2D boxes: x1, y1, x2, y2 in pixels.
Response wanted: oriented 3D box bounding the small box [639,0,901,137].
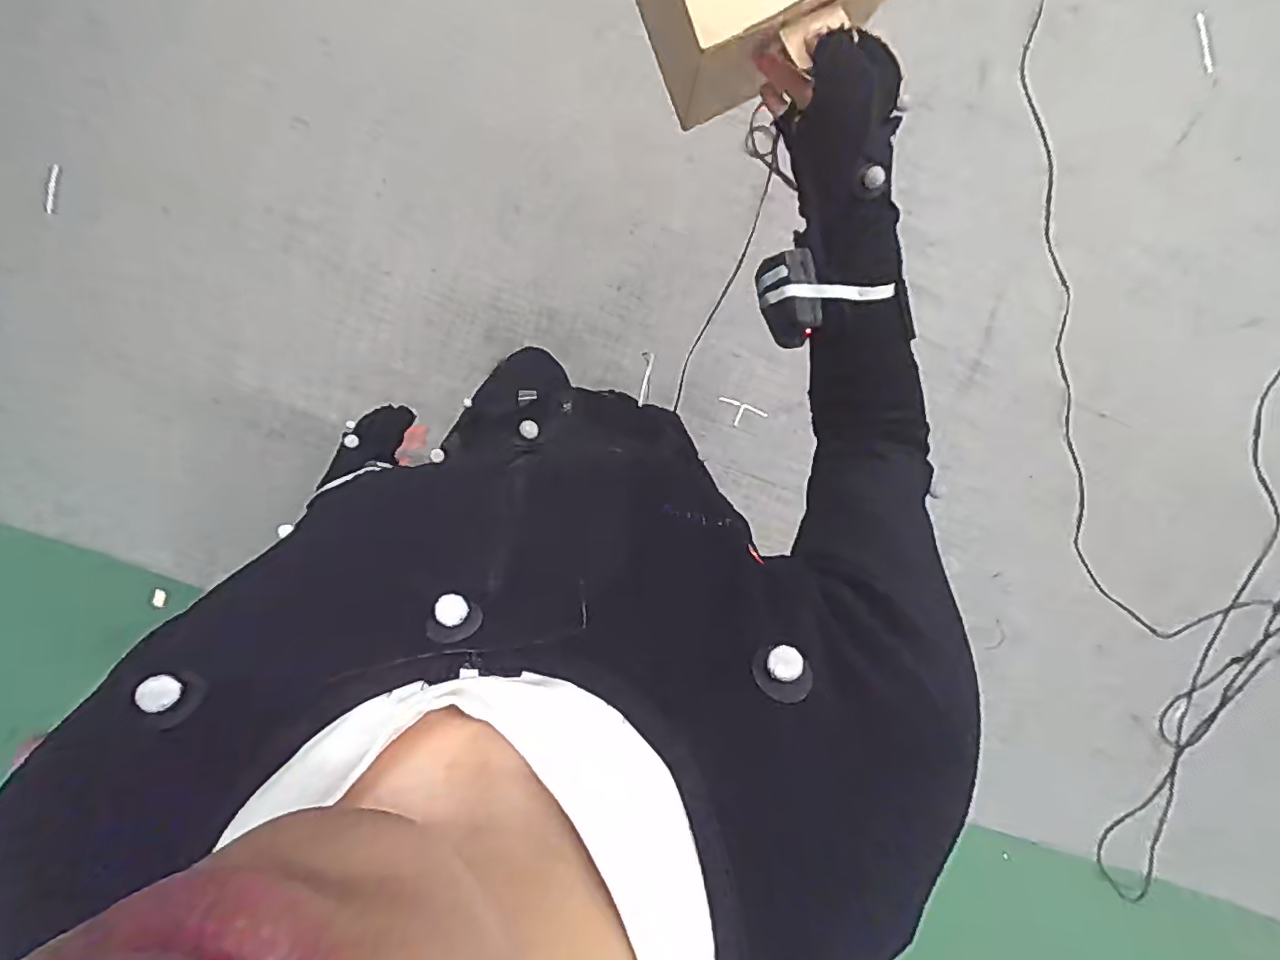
[{"bbox_3d":[0.089,-0.420,0.432,0.168,0.176,0.179,-21,106,6],"label":"small box"}]
